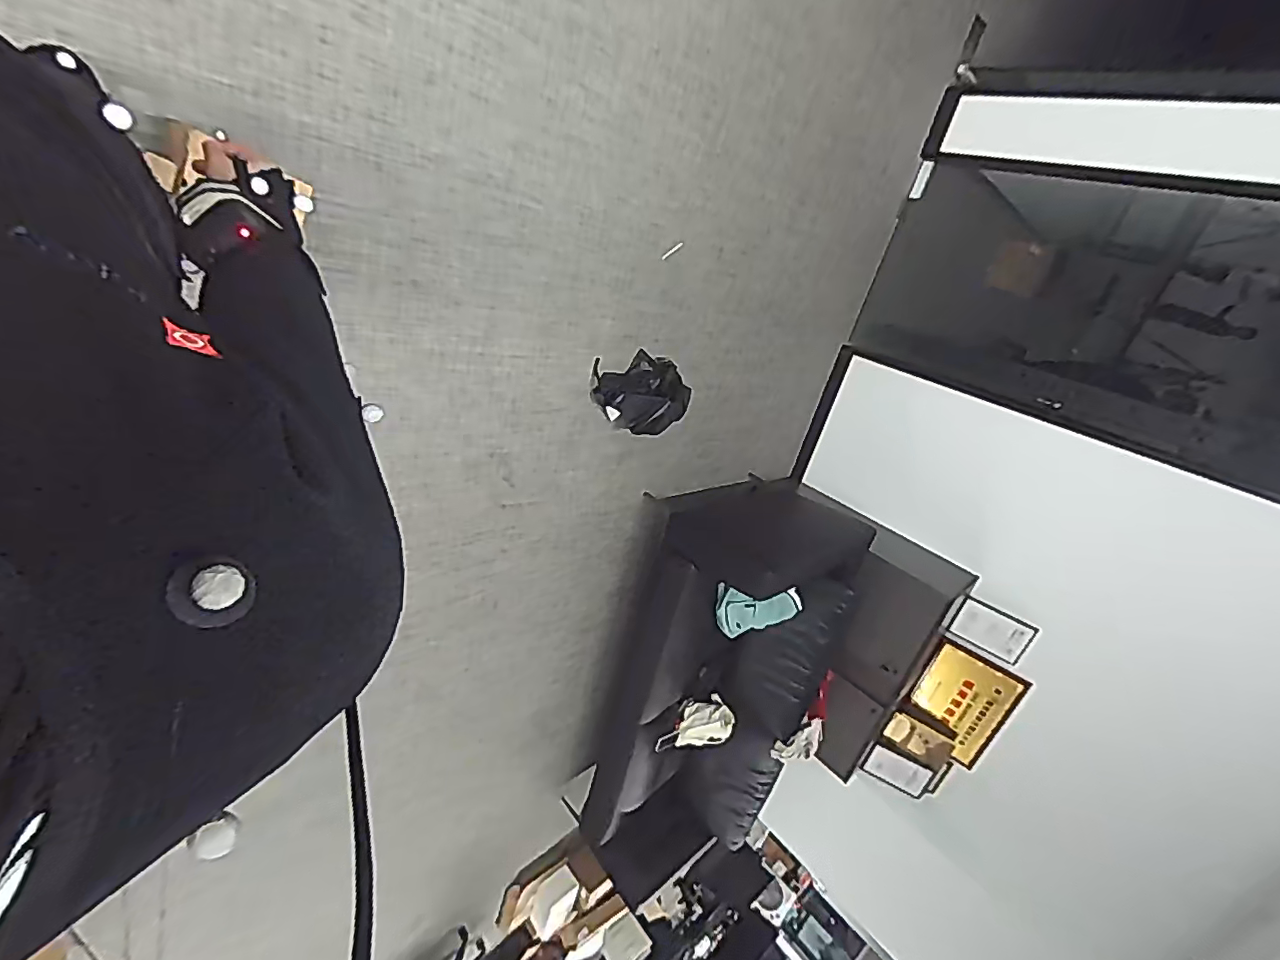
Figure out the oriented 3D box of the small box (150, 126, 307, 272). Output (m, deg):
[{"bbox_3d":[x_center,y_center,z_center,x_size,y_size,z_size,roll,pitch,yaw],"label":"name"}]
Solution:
[{"bbox_3d":[-0.735,-0.502,0.966,0.179,0.176,0.168,9,111,-51],"label":"small box"}]
